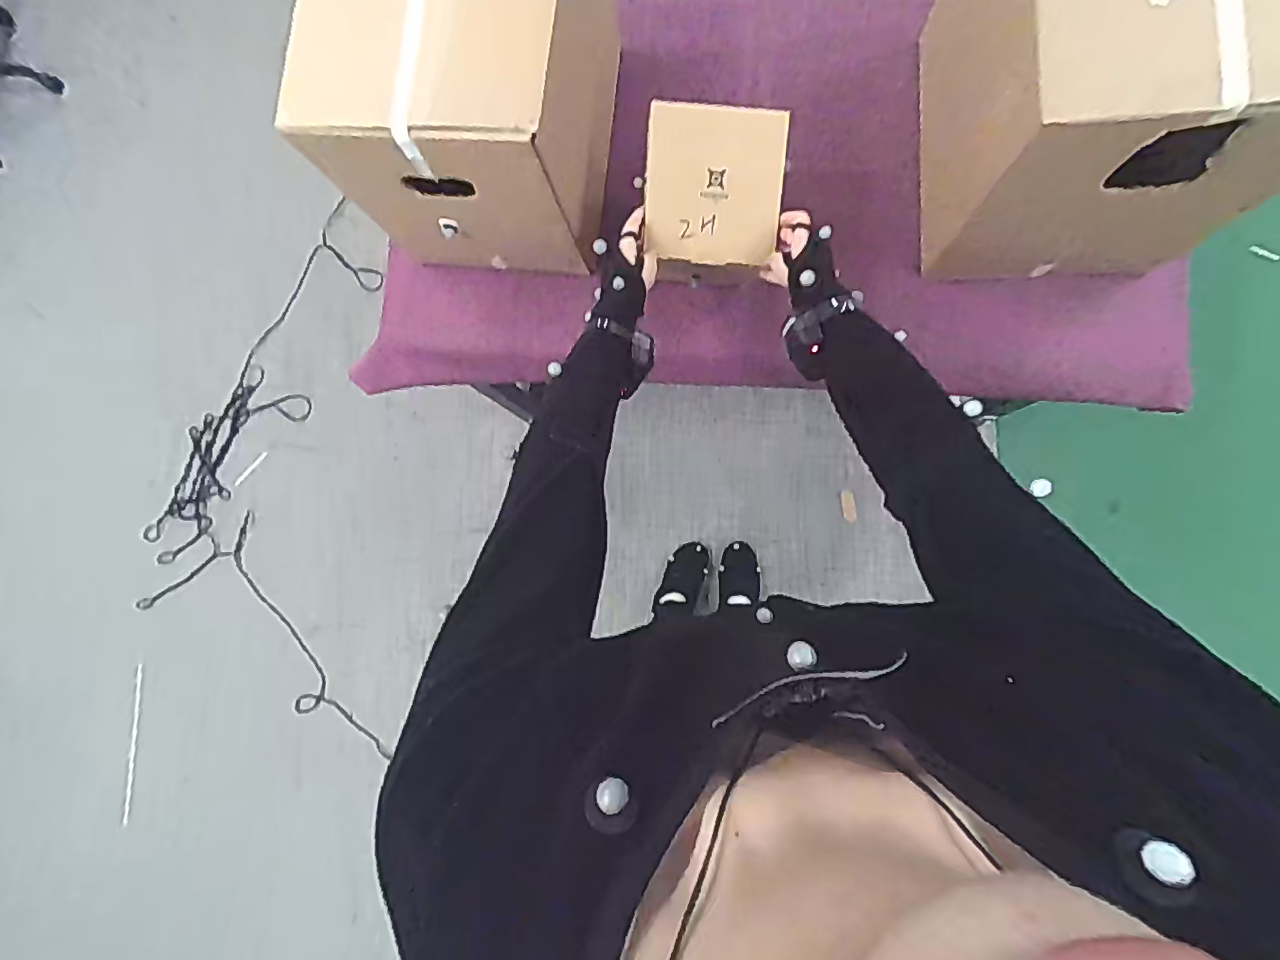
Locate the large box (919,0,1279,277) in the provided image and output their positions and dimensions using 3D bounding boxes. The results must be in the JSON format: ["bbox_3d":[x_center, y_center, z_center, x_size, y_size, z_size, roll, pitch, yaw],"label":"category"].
[{"bbox_3d":[0.561,-0.511,0.658,0.320,0.320,0.408,1,84,9],"label":"large box"}]

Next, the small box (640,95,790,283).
[{"bbox_3d":[0.088,-0.375,0.726,0.168,0.176,0.179,4,102,-1],"label":"small box"}]
